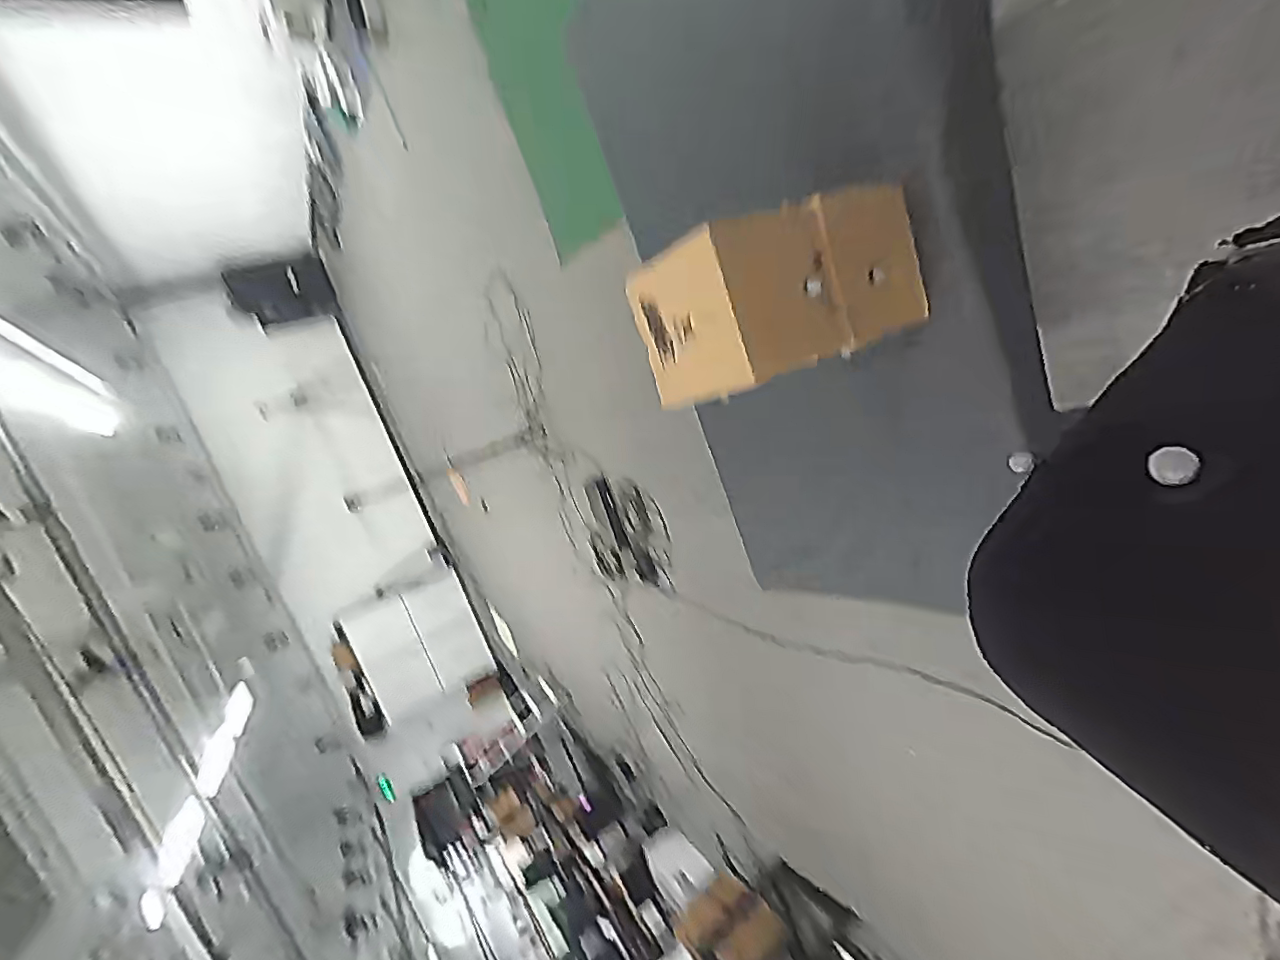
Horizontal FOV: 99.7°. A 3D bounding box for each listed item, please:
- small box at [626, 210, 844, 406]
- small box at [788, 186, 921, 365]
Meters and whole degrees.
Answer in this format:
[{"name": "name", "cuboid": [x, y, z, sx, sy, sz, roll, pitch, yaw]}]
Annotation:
[{"name": "small box", "cuboid": [0.114, -0.207, 0.670, 0.179, 0.176, 0.168, -9, 104, 63]}, {"name": "small box", "cuboid": [0.250, -0.270, 0.737, 0.168, 0.176, 0.179, -1, 112, 60]}]
